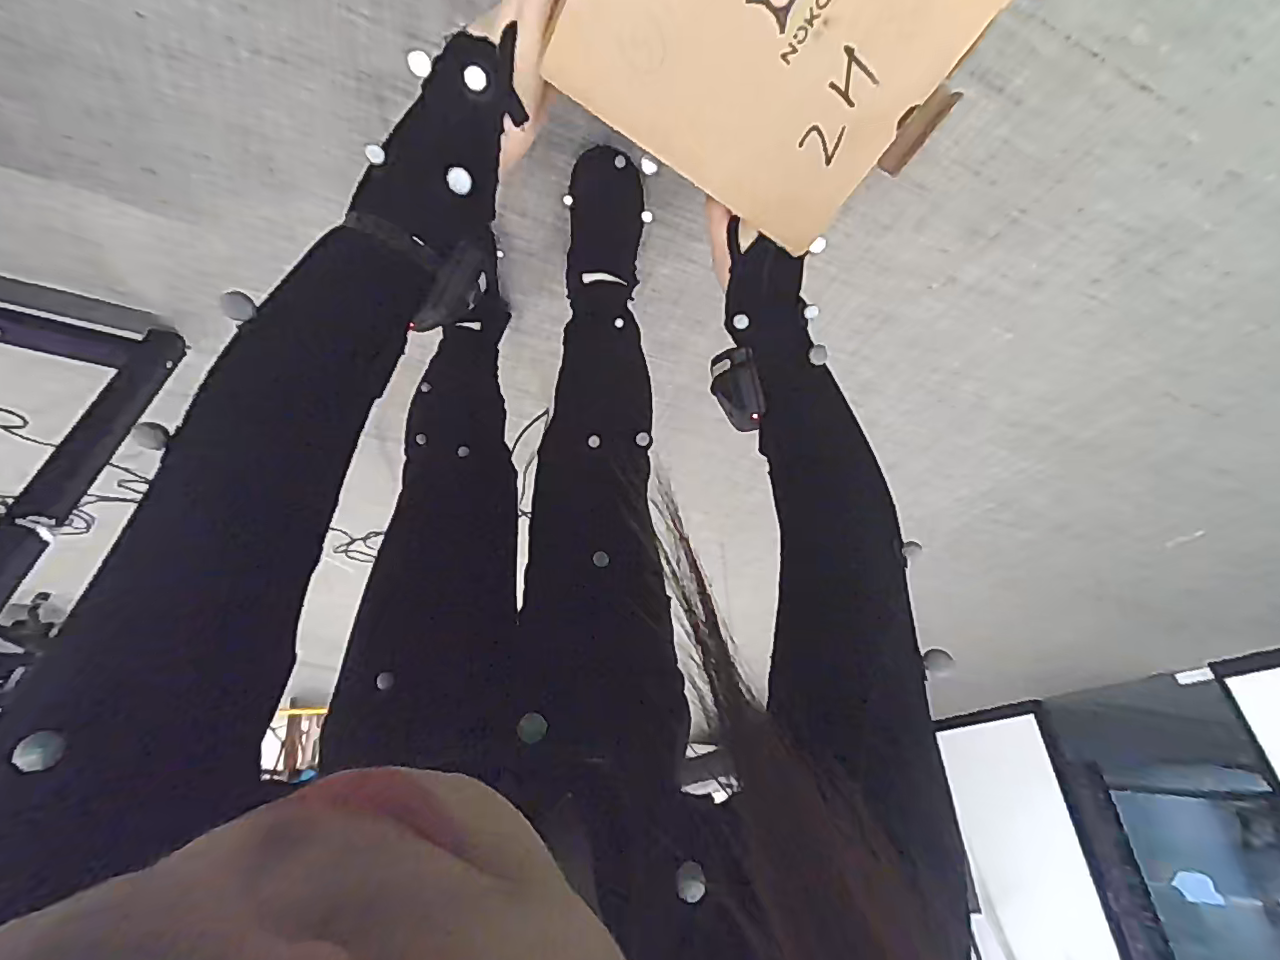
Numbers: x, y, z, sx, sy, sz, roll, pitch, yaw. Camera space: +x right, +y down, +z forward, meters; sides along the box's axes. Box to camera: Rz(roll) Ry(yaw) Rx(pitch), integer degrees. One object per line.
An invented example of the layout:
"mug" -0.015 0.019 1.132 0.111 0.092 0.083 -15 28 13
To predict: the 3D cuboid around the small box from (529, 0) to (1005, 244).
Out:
"small box" 0.058 -0.269 0.287 0.179 0.176 0.168 21 130 -26
